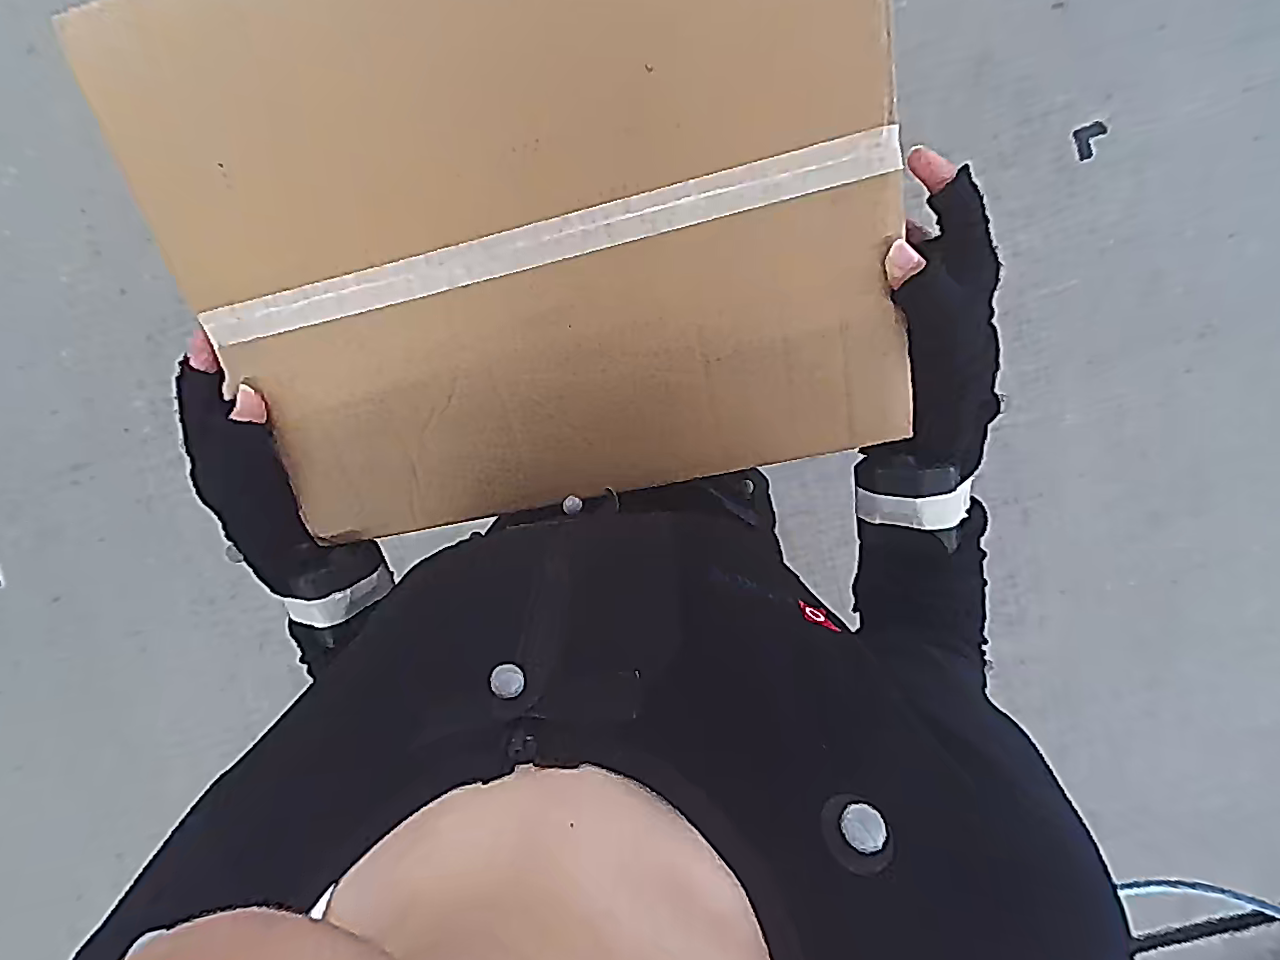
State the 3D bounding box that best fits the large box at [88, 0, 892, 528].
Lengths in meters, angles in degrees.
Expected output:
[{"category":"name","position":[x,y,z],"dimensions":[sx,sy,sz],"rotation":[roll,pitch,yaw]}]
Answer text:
[{"category":"large box","position":[-0.058,-0.197,0.448],"dimensions":[0.408,0.320,0.320],"rotation":[-10,111,8]}]
